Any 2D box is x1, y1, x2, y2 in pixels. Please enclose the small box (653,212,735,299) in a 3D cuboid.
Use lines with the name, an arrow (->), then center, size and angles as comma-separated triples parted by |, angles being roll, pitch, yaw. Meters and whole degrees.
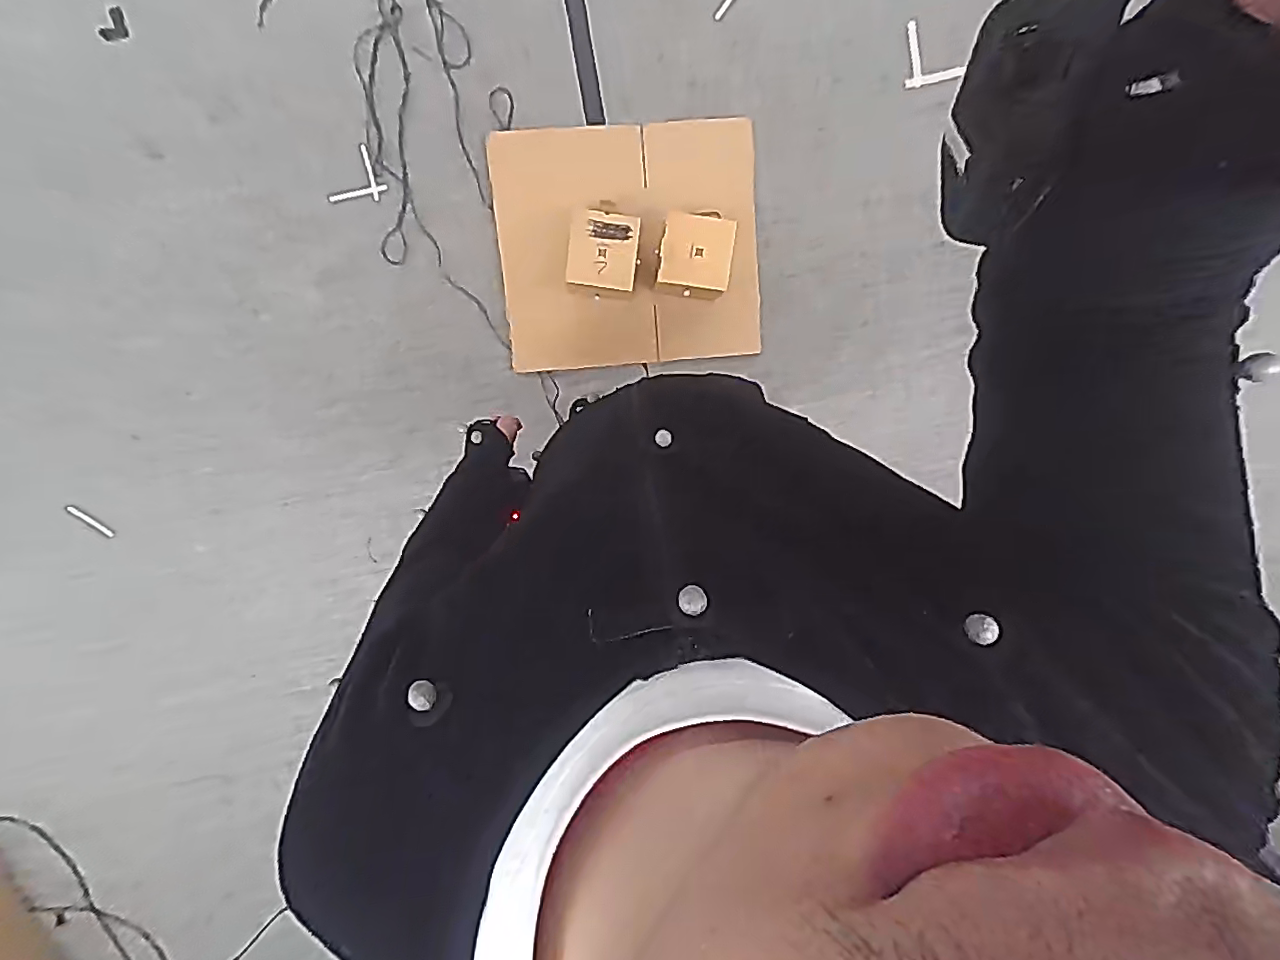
small box -> 0.134, -0.575, 1.408 | 0.179, 0.176, 0.168 | 7, 100, -4
